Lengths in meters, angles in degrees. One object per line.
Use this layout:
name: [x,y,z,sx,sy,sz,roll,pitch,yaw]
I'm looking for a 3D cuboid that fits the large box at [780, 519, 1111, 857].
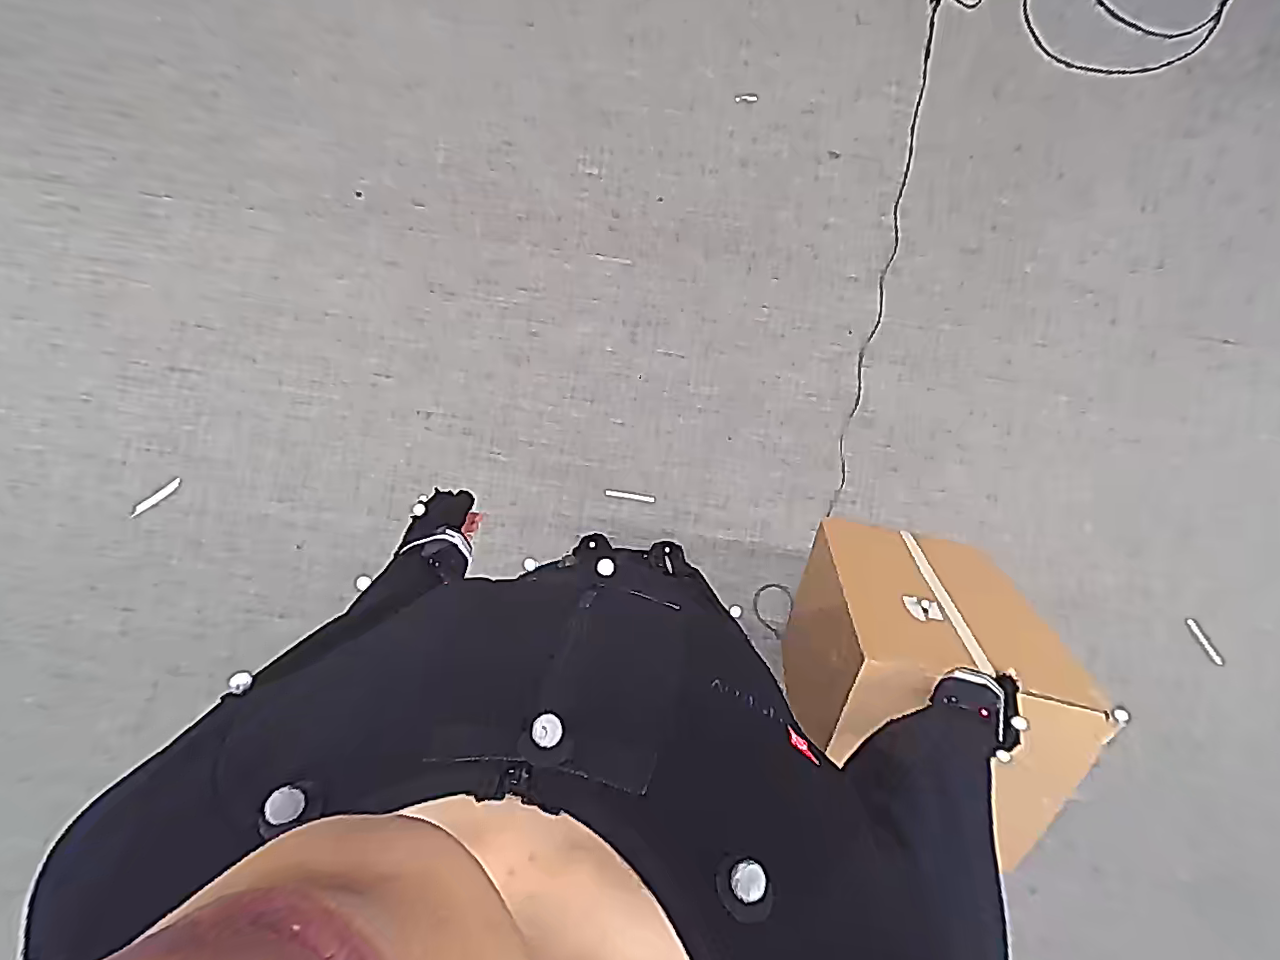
large box: [0.446,0.320,0.926,0.320,0.408,0.320,12,115,5]
